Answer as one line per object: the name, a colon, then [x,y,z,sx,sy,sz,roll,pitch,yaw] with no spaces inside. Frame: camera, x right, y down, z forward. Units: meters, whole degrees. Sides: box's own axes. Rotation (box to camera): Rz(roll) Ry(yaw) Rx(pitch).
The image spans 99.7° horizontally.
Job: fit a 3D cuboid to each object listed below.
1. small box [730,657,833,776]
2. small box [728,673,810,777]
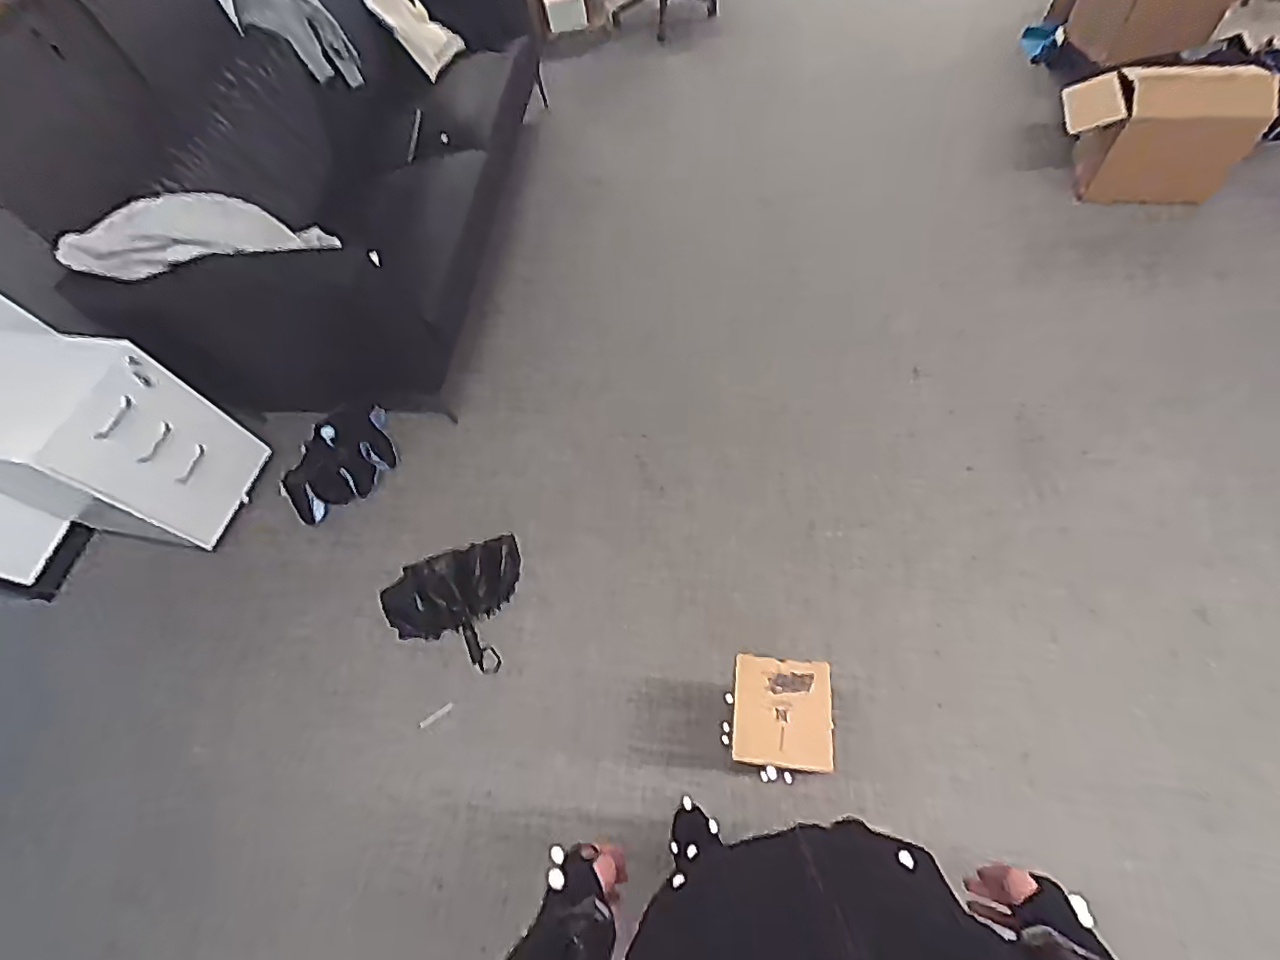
small box: [0.256,0.443,1.008,0.168,0.176,0.179,3,63,9]
small box: [0.275,0.524,1.150,0.168,0.176,0.179,3,60,9]
